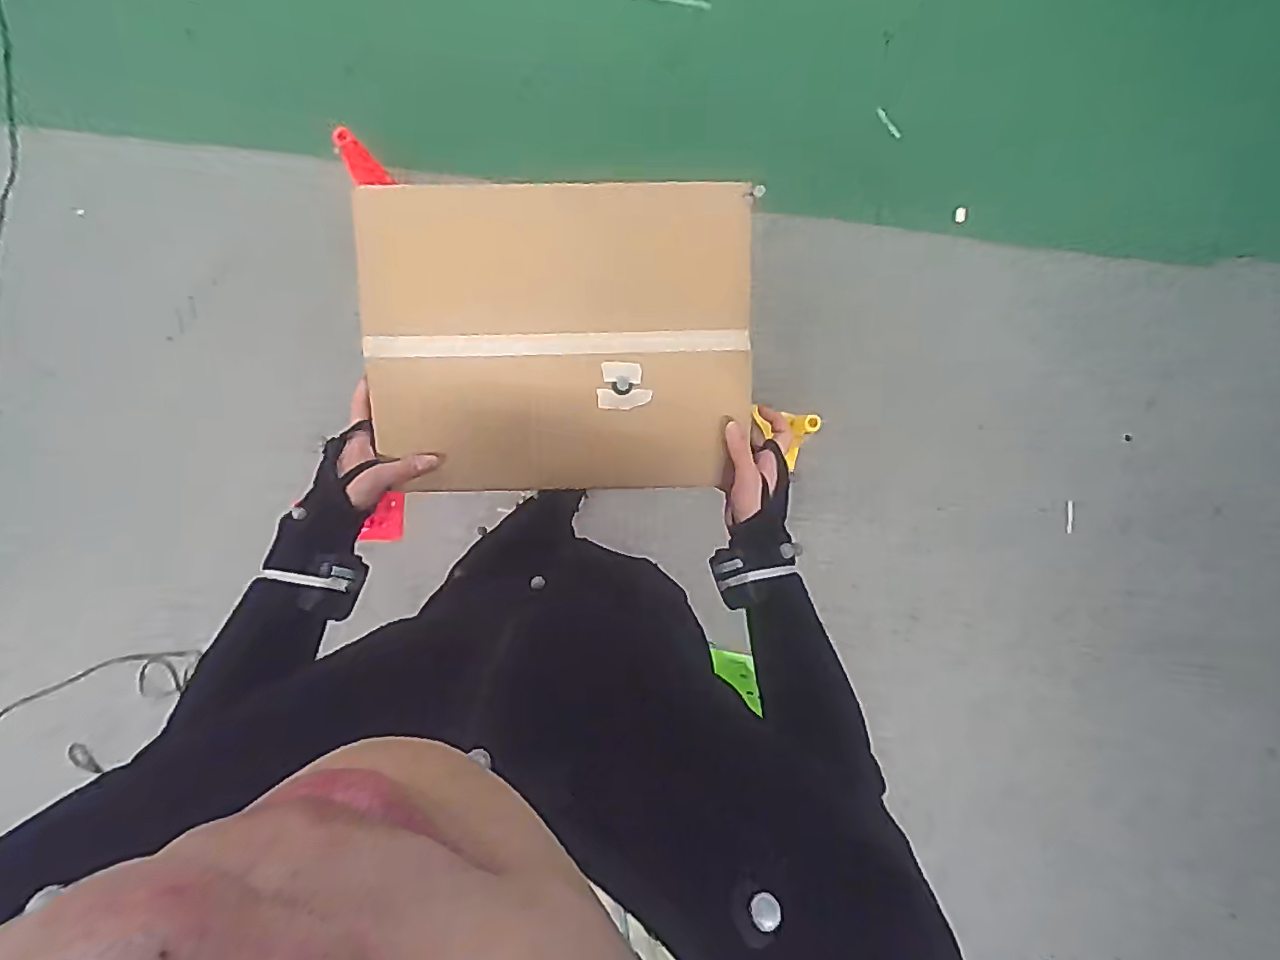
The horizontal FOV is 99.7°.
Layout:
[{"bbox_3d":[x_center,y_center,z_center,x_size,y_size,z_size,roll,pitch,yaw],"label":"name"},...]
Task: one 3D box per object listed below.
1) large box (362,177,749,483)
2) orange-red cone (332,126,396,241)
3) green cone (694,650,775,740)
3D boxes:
[{"bbox_3d":[-0.087,-0.178,0.723,0.408,0.320,0.320,-1,100,-1],"label":"large box"},{"bbox_3d":[-0.711,-0.793,1.428,0.199,0.360,0.198,12,86,-3],"label":"orange-red cone"},{"bbox_3d":[0.288,0.611,1.452,0.200,0.368,0.202,11,85,-5],"label":"green cone"}]
